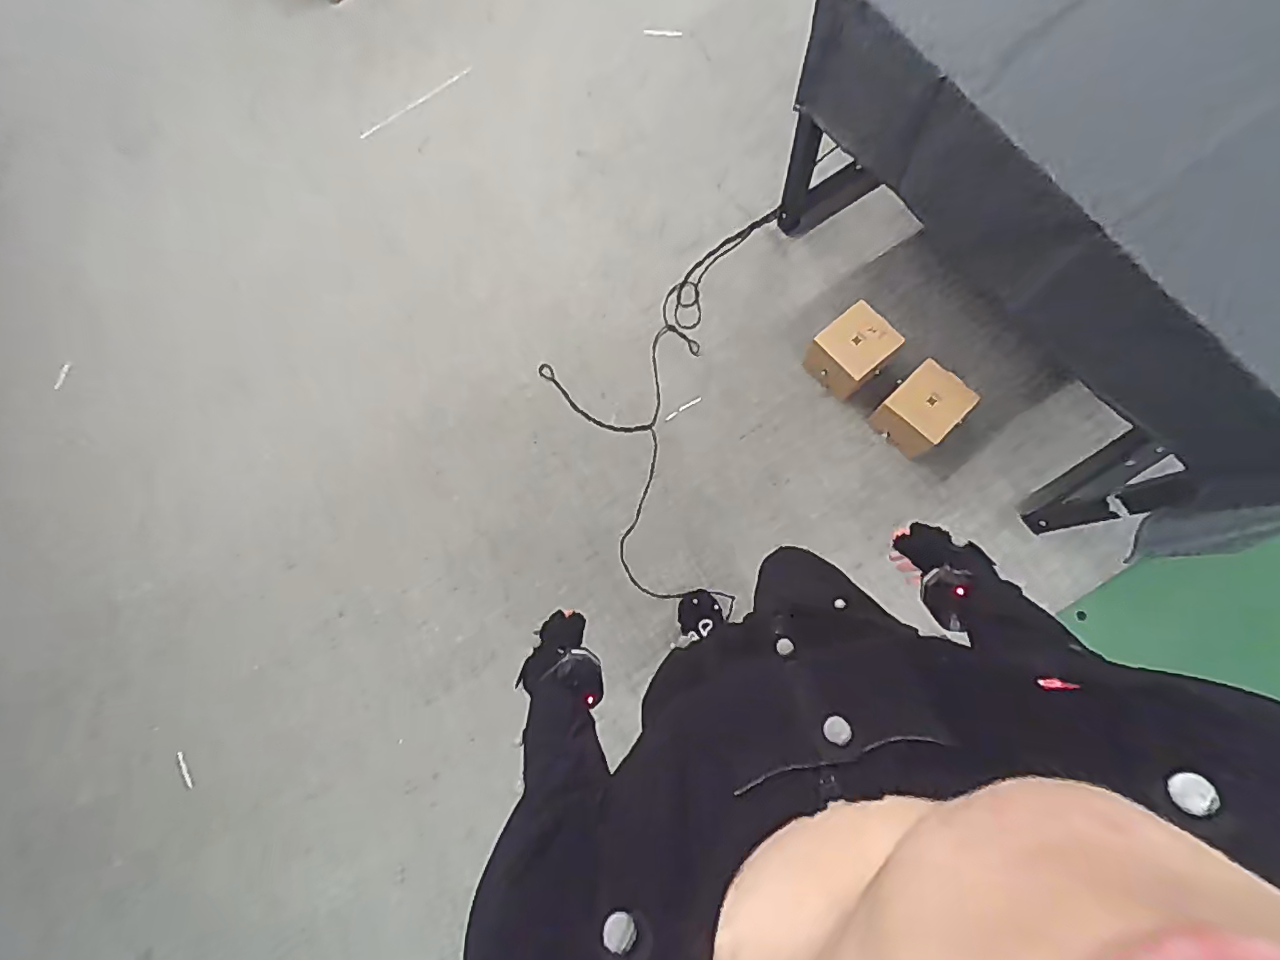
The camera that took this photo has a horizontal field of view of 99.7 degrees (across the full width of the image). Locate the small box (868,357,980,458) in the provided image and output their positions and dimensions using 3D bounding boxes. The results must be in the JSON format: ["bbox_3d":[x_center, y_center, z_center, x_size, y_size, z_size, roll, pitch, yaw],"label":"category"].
[{"bbox_3d":[0.745,-0.186,1.443,0.179,0.176,0.168,-44,77,-5],"label":"small box"}]
